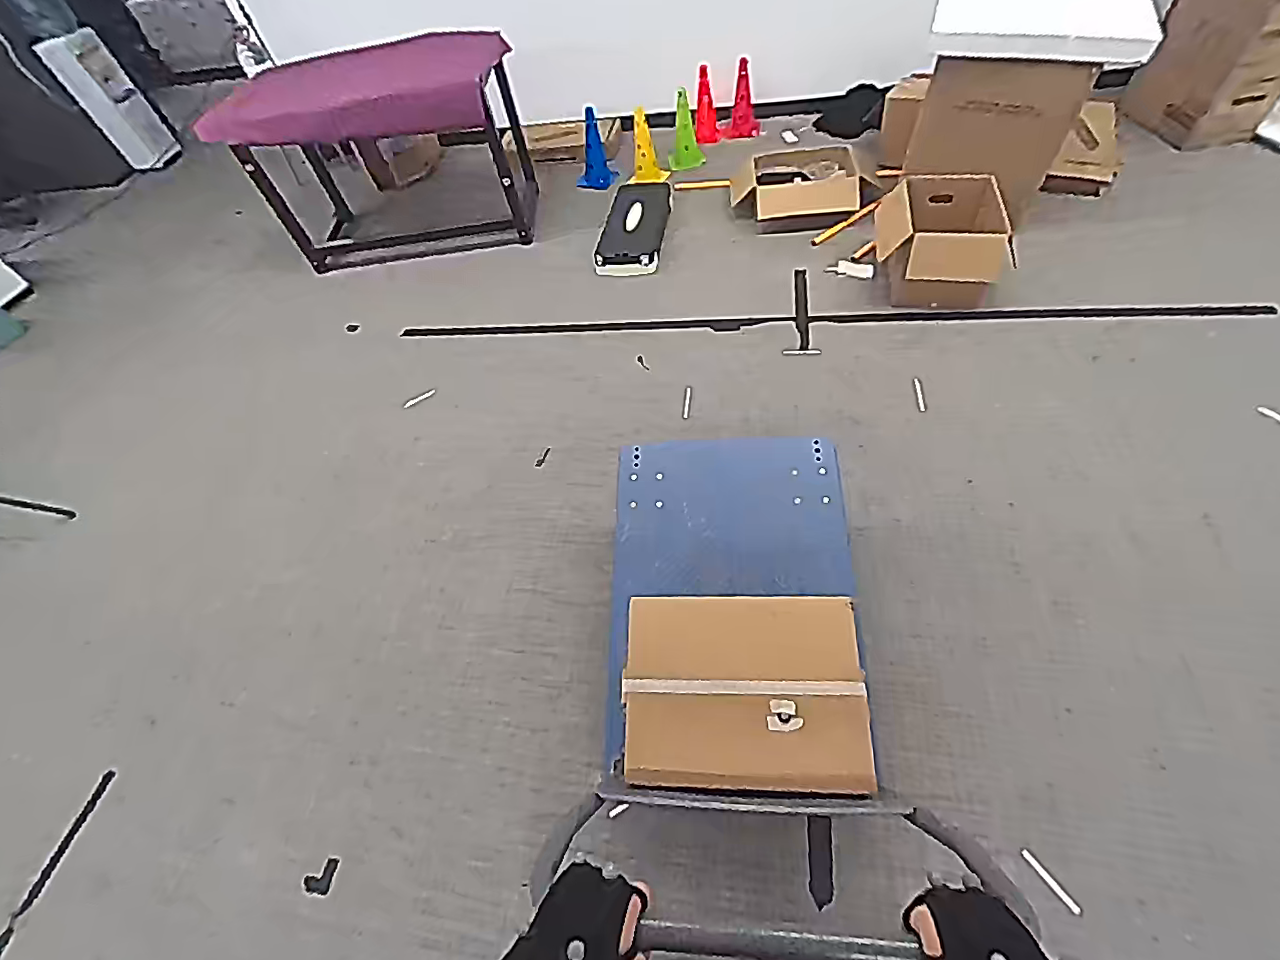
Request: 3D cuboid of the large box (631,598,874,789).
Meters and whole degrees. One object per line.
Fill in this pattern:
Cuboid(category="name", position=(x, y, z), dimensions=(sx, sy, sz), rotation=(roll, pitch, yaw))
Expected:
Cuboid(category="large box", position=(0.197, 0.427, 1.084), dimensions=(0.408, 0.320, 0.320), rotation=(-2, 66, 6))
